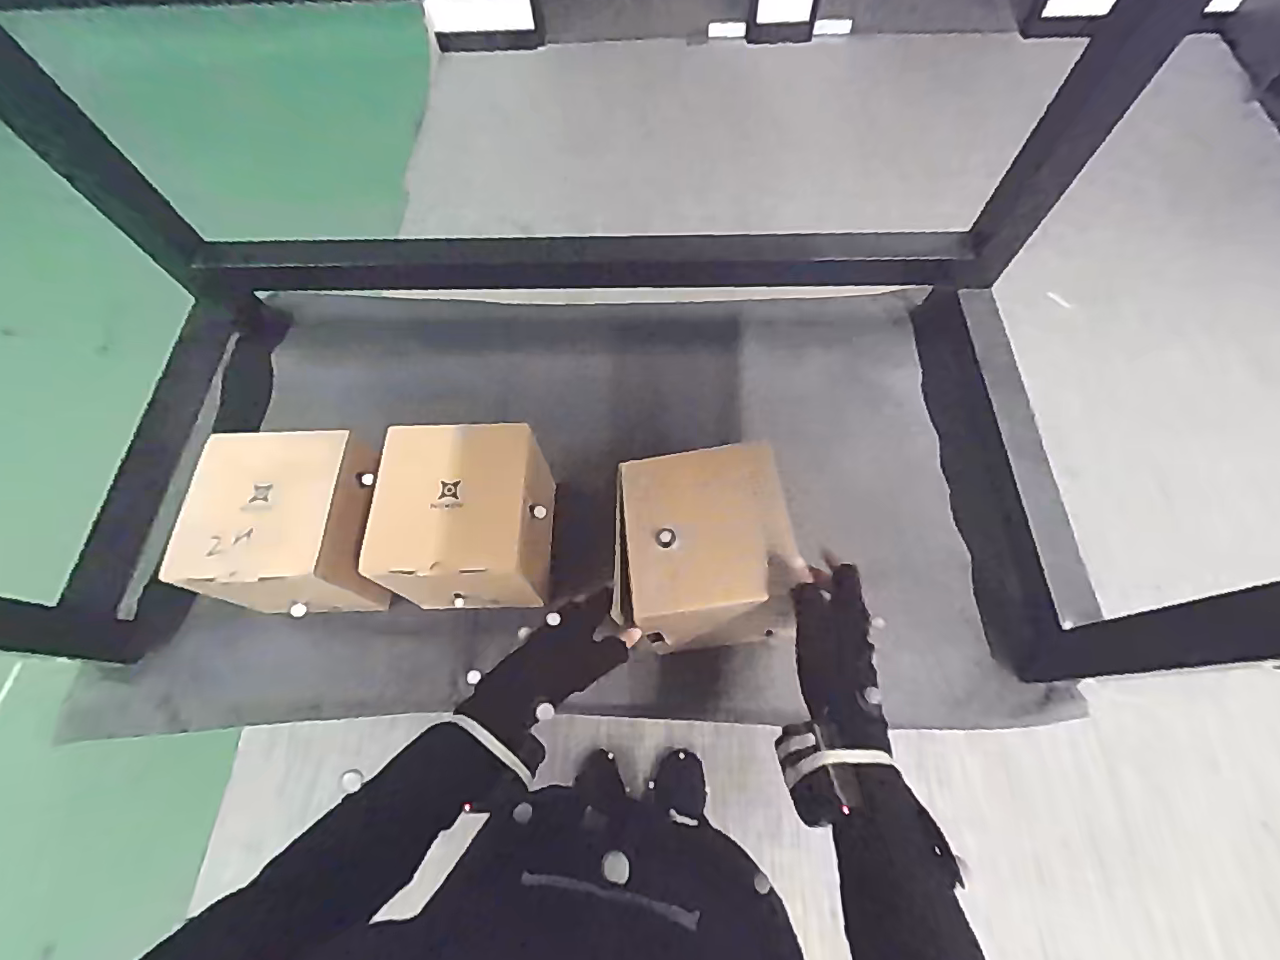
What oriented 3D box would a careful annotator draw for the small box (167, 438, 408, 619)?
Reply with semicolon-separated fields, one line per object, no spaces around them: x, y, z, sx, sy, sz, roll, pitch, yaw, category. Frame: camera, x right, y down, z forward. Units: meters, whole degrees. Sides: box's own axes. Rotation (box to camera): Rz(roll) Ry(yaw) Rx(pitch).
-0.406;0.065;0.664;0.168;0.176;0.179;-1;64;1;small box
